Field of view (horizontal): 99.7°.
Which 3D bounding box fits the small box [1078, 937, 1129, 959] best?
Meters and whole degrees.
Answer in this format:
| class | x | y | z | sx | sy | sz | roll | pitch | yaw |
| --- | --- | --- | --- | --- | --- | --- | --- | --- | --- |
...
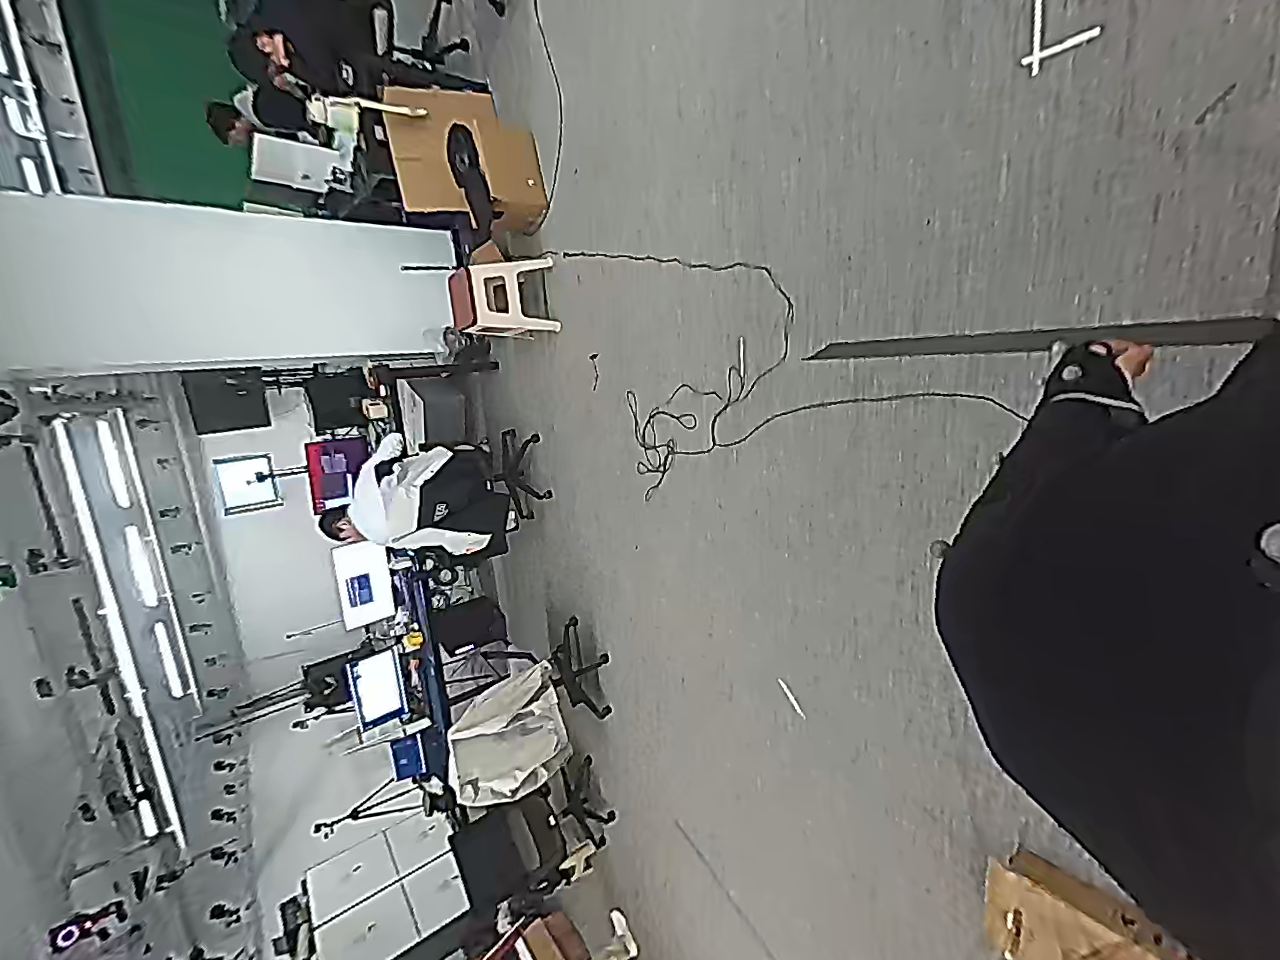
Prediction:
| class | x | y | z | sx | sy | sz | roll | pitch | yaw |
| --- | --- | --- | --- | --- | --- | --- | --- | --- | --- |
| small box | 1.094 | 1.228 | 1.242 | 0.168 | 0.176 | 0.179 | 18 | 115 | 51 |
